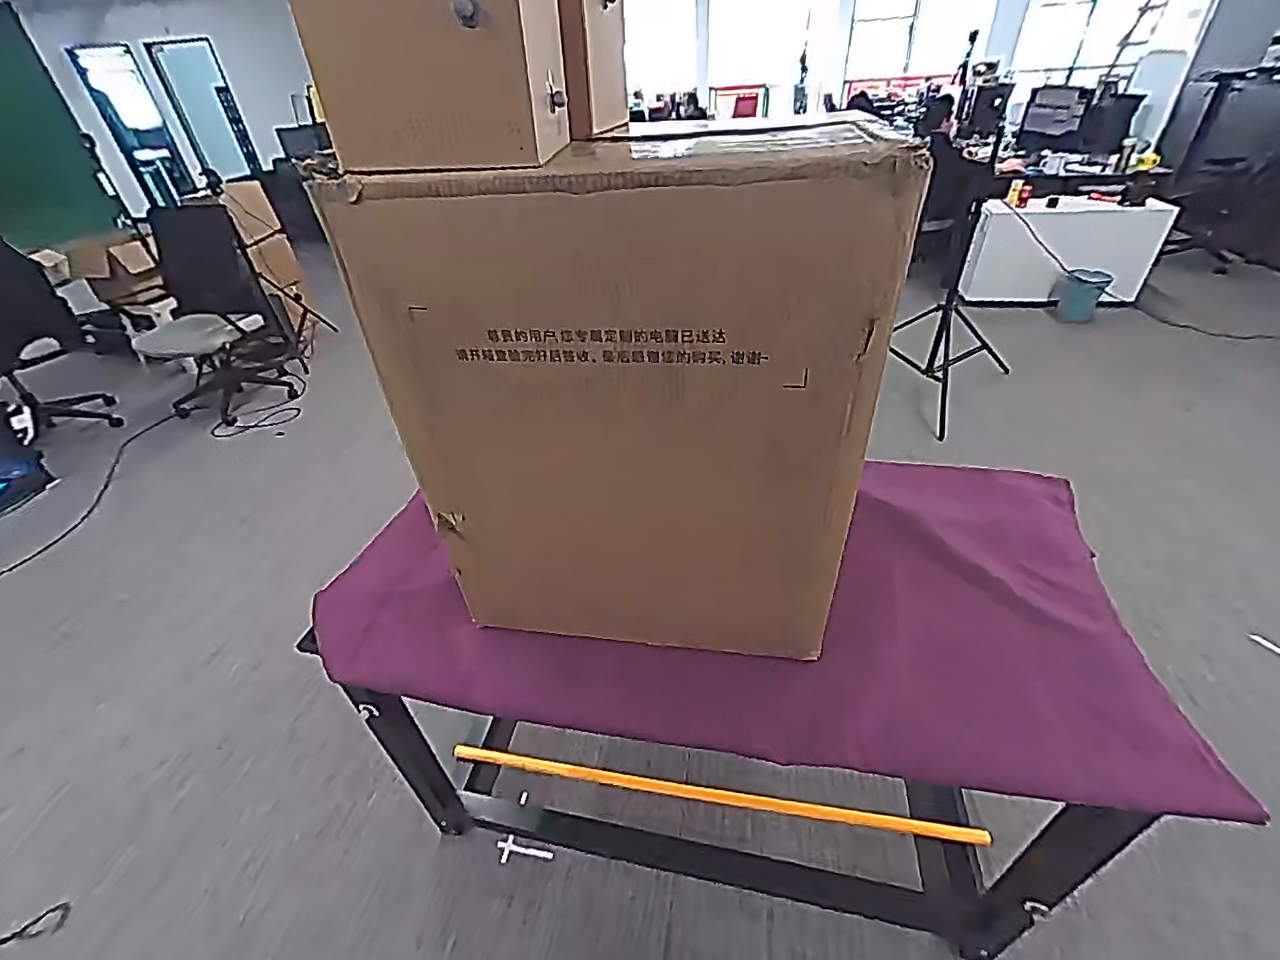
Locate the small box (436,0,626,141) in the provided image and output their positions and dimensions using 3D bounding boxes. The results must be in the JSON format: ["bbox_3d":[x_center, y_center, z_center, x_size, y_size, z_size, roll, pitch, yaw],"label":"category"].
[{"bbox_3d":[-0.115,-0.509,0.645,0.168,0.176,0.179,6,37,11],"label":"small box"}]
